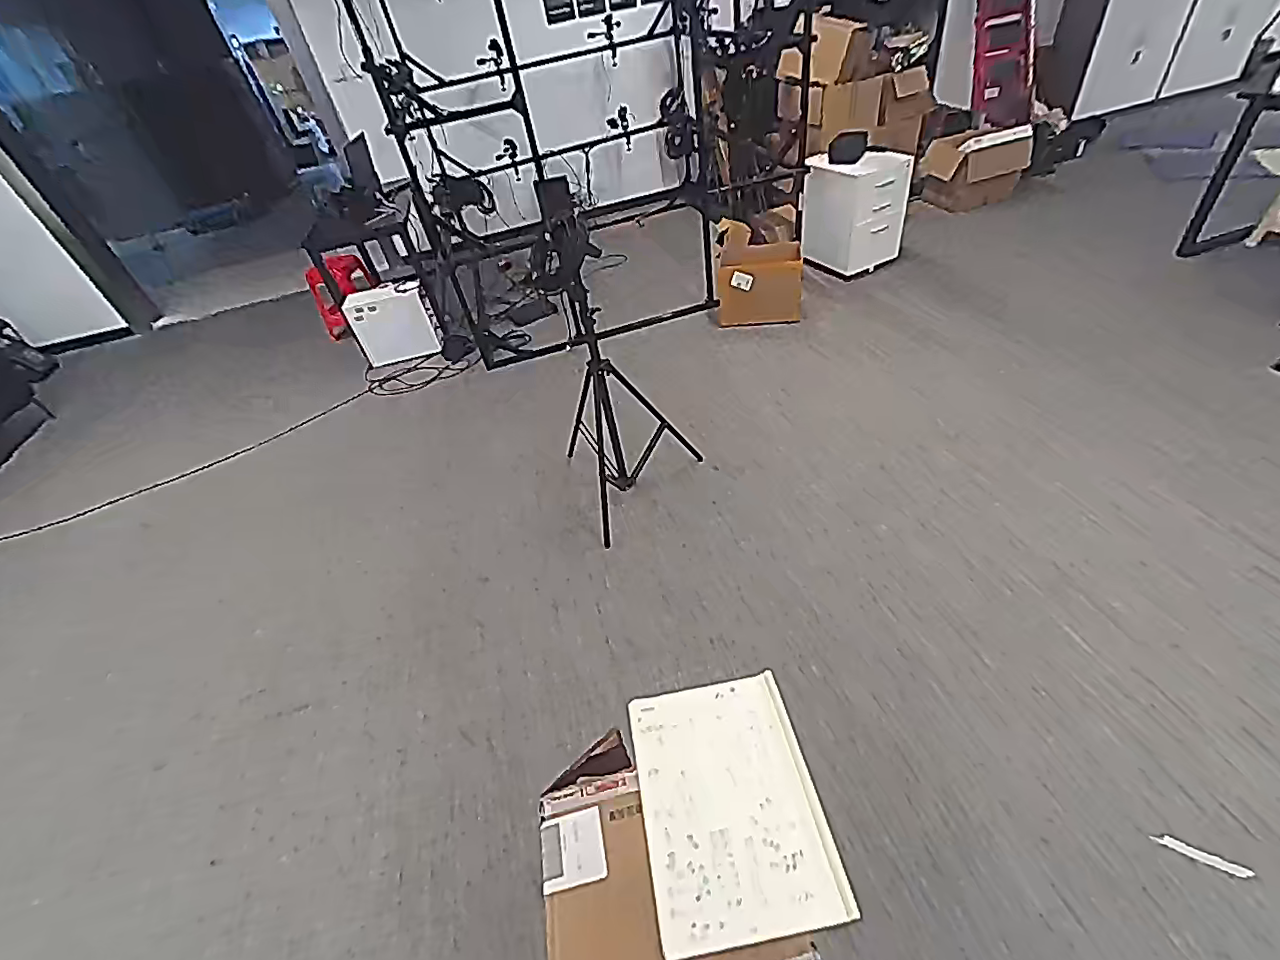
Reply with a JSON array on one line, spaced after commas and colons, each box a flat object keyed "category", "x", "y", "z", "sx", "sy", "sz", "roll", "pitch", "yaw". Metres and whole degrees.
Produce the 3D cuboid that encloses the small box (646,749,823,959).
[{"category": "small box", "x": 0.105, "y": 0.468, "z": 0.671, "sx": 0.168, "sy": 0.176, "sz": 0.179, "roll": -11, "pitch": 44, "yaw": -3}]
